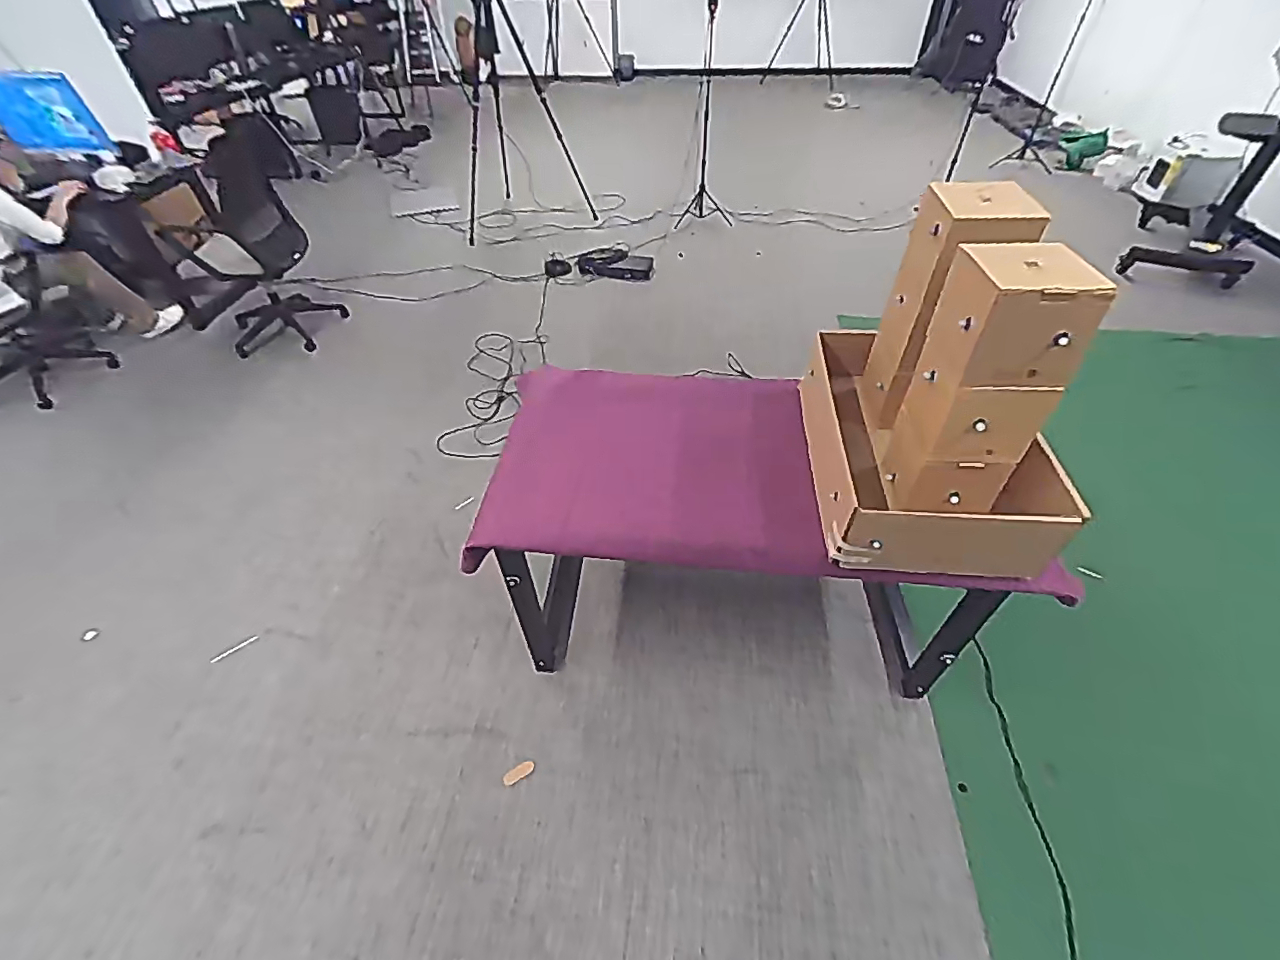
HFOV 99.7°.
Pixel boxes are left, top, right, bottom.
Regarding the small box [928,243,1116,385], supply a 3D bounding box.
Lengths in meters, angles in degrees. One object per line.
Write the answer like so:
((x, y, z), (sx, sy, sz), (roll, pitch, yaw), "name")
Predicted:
((0.600, -0.268, 0.880), (0.168, 0.176, 0.179), (2, 44, 5), "small box")

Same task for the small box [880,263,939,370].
((0.645, -0.355, 1.183), (0.168, 0.176, 0.179), (1, 48, 5), "small box")

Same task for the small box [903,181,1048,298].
((0.640, -0.465, 1.059), (0.168, 0.176, 0.179), (3, 48, 5), "small box")

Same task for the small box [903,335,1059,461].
((0.608, -0.149, 0.992), (0.168, 0.176, 0.179), (2, 44, 6), "small box")
